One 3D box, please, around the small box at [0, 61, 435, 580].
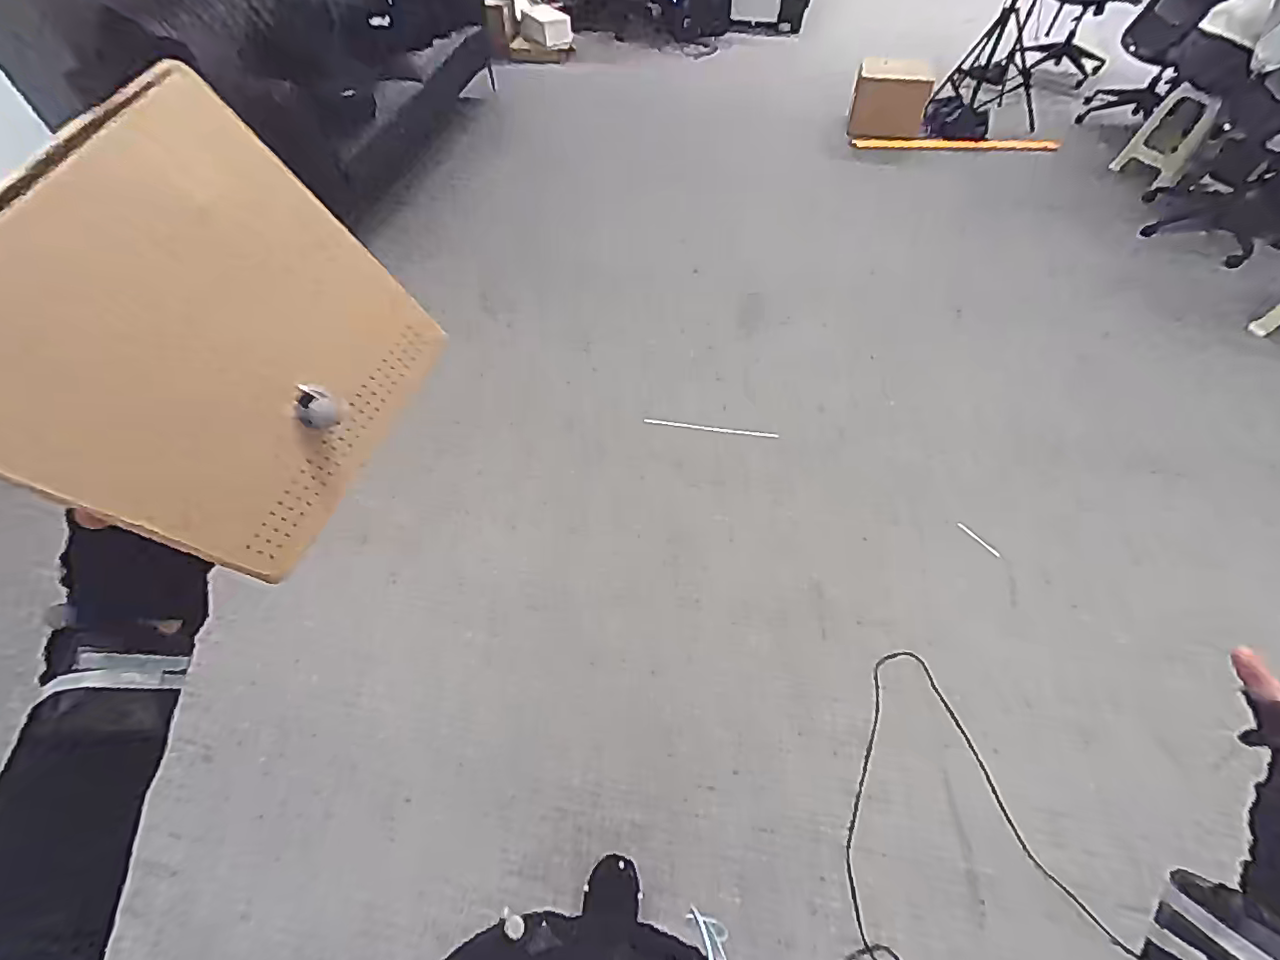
[{"bbox_3d":[-0.245,-0.073,0.295,0.168,0.176,0.179,13,65,34],"label":"small box"}]
